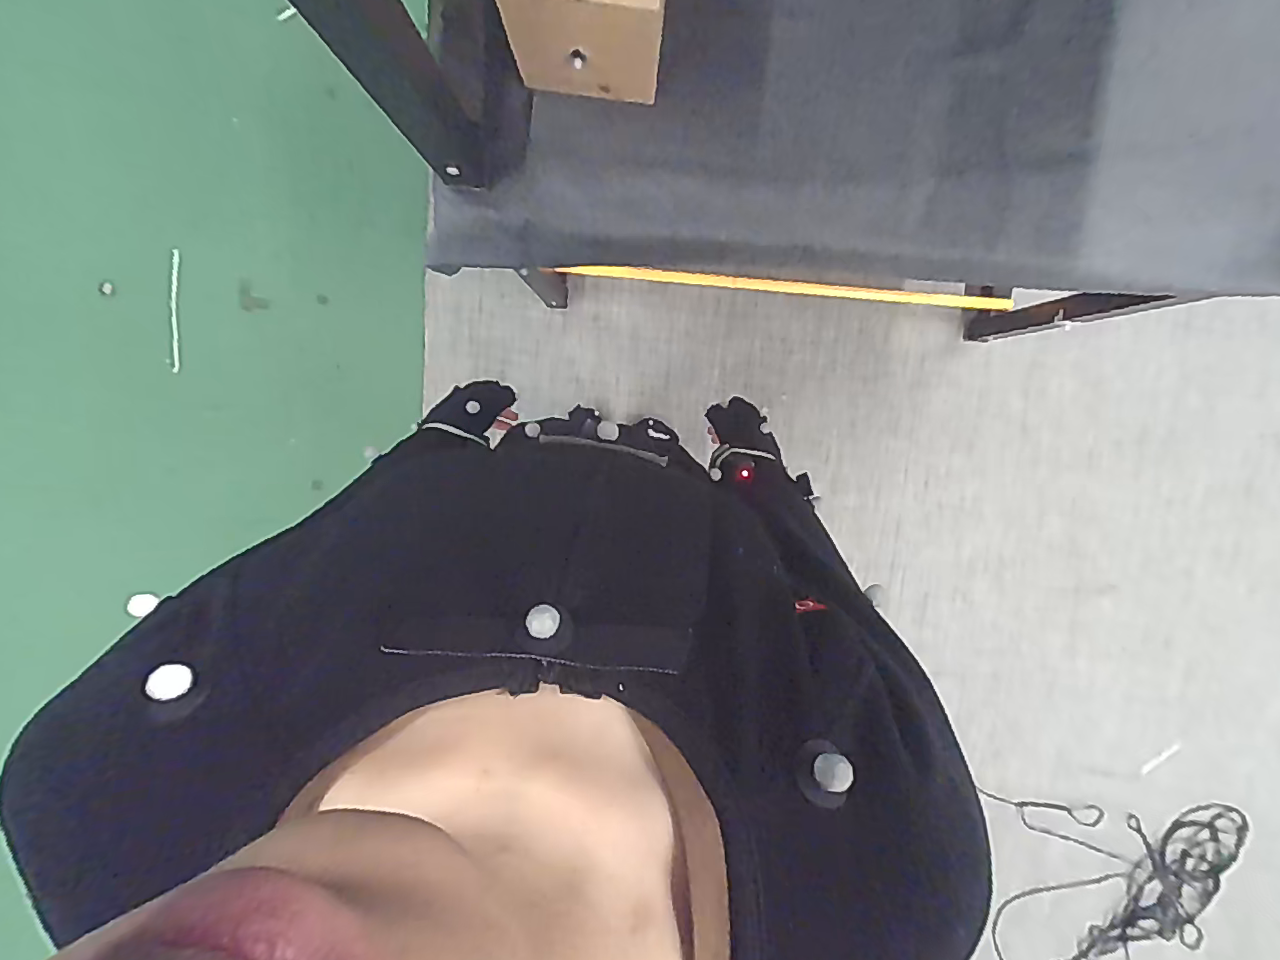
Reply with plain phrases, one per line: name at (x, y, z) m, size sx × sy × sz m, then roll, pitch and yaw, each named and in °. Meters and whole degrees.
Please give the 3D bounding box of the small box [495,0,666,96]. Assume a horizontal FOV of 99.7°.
small box at (-0.053, -0.556, 0.582) m, size 0.168 × 0.176 × 0.179 m, roll 7°, pitch 97°, yaw -2°
